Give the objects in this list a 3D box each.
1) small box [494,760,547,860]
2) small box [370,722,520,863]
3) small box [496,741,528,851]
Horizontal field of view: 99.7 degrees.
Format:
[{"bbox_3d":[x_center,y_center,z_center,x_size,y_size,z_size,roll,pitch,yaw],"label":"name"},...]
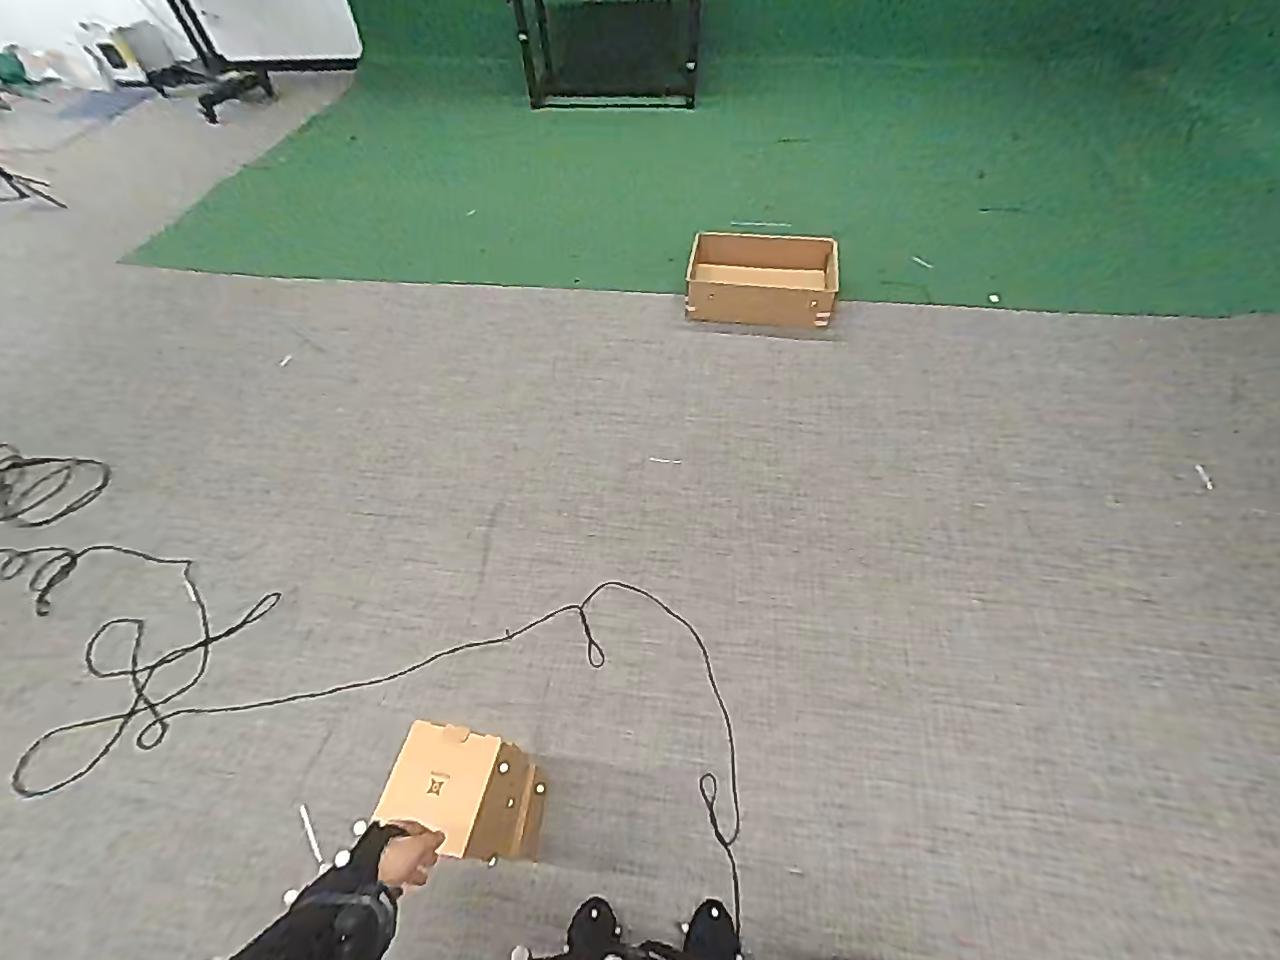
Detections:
[{"bbox_3d":[-0.312,0.736,1.216,0.168,0.176,0.179,2,53,6],"label":"small box"},{"bbox_3d":[-0.325,0.551,0.948,0.168,0.176,0.179,7,53,9],"label":"small box"},{"bbox_3d":[-0.335,0.632,1.091,0.168,0.176,0.179,4,52,5],"label":"small box"}]
